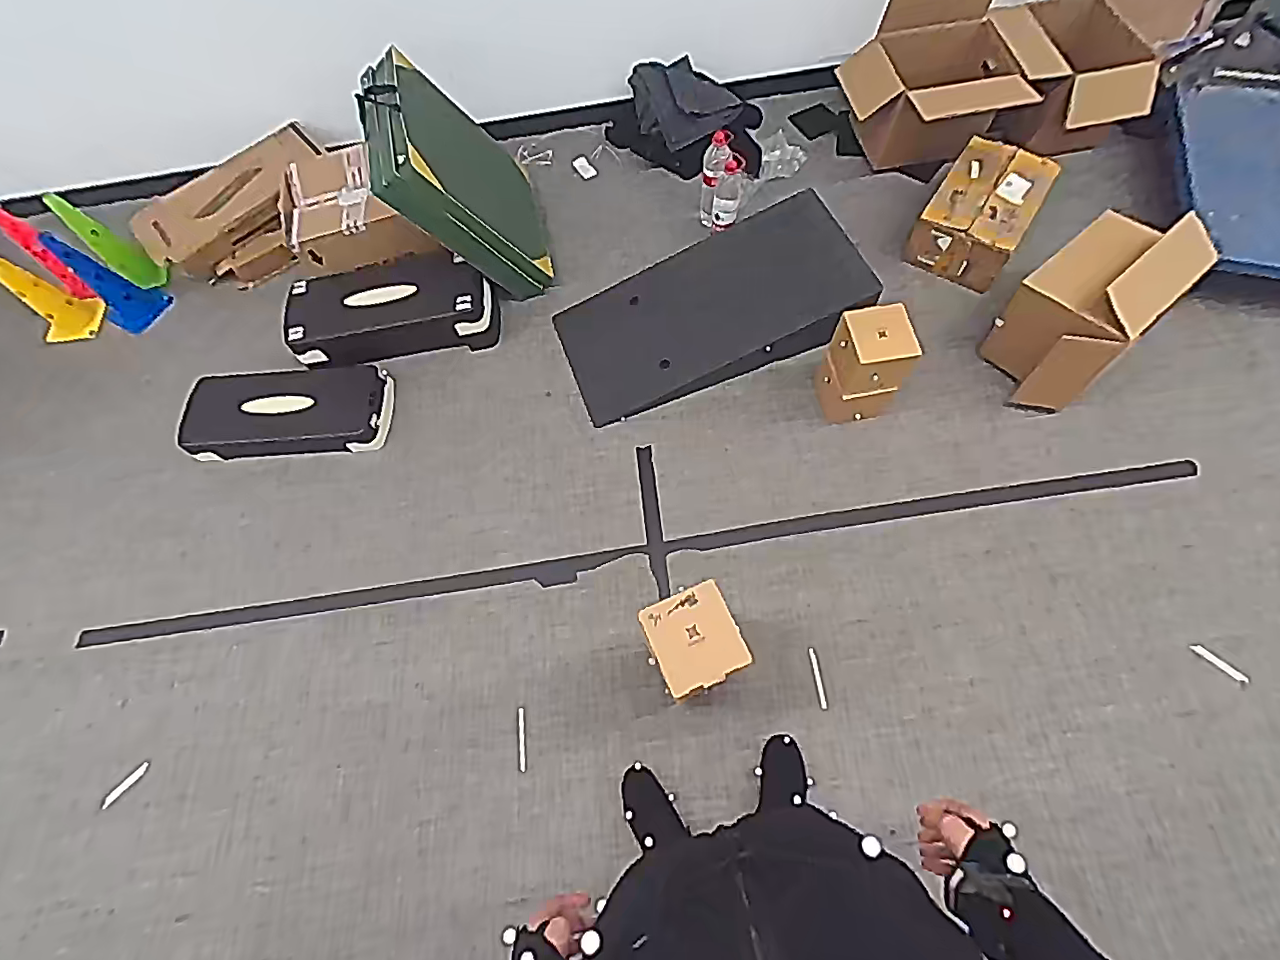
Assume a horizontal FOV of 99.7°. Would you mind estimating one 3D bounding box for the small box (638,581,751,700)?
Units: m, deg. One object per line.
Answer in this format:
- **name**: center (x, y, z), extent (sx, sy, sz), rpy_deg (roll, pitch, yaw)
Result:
- **small box**: center (0.108, 0.331, 1.107), extent (0.168, 0.176, 0.179), rpy_deg (-23, 68, -6)
